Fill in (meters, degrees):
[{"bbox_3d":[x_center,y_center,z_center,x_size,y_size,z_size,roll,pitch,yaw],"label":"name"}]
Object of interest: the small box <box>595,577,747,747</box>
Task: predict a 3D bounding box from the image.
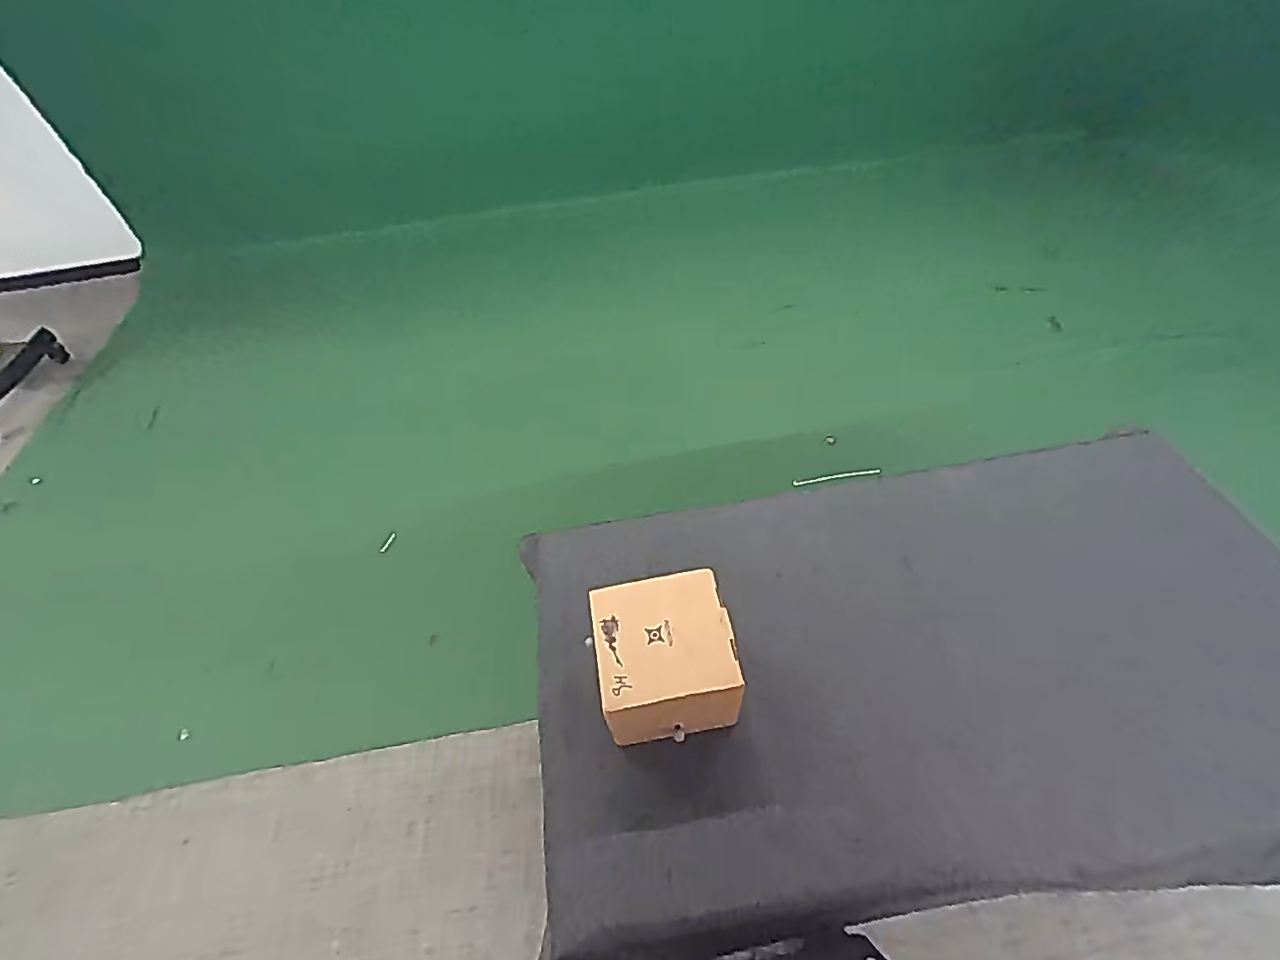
[{"bbox_3d":[0.037,0.259,0.762,0.179,0.176,0.168,-9,51,-3],"label":"small box"}]
